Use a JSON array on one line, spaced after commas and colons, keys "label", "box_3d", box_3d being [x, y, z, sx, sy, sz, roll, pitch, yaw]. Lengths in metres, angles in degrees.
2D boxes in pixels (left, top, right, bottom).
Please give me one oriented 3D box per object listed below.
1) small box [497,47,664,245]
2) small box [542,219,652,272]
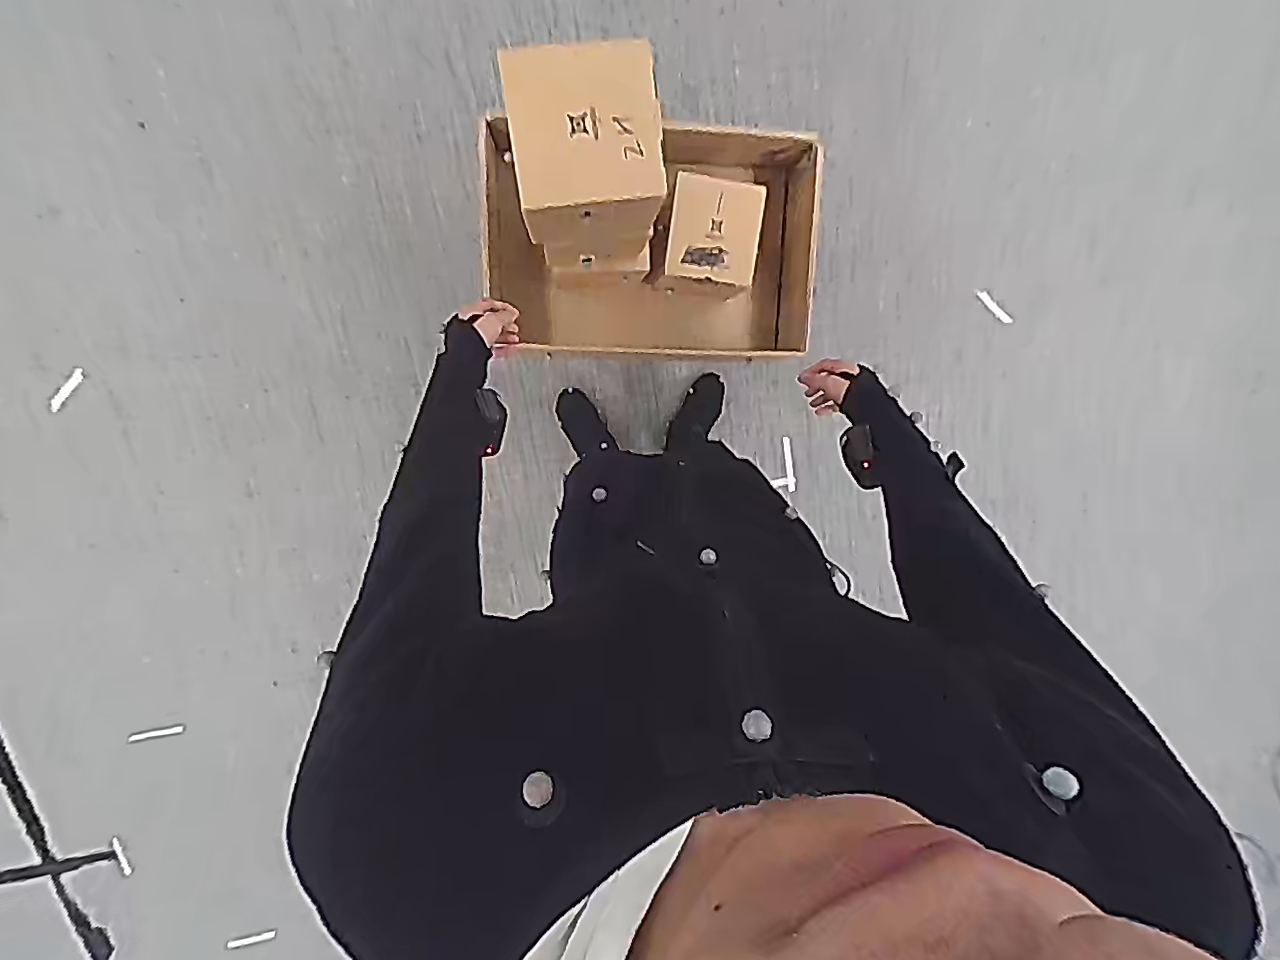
[{"label": "small box", "box_3d": [-0.073, -0.413, 0.696, 0.179, 0.176, 0.168, -8, 102, -6]}, {"label": "small box", "box_3d": [-0.082, -0.445, 0.856, 0.168, 0.176, 0.179, -9, 101, -5]}]
